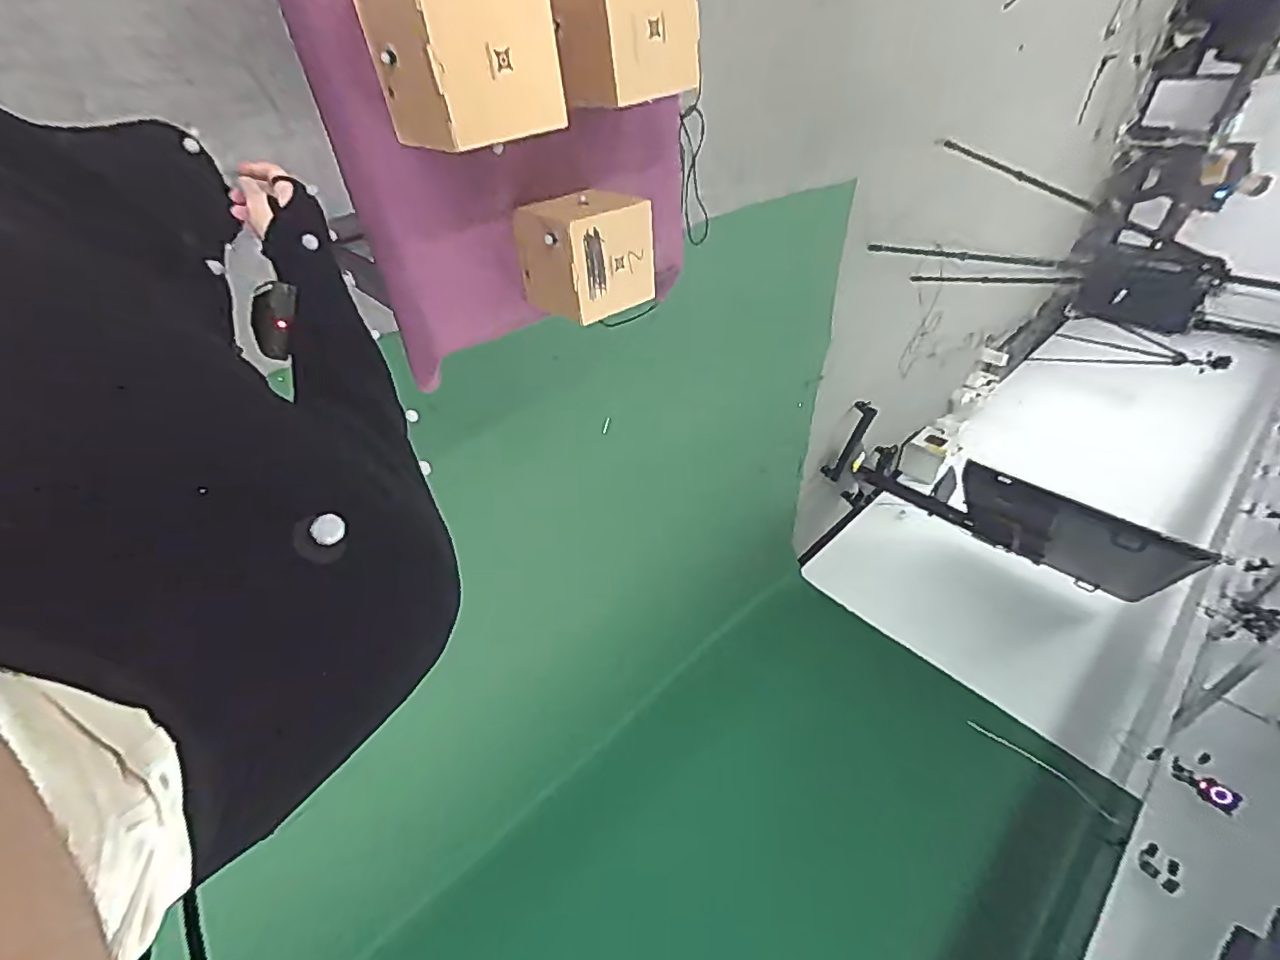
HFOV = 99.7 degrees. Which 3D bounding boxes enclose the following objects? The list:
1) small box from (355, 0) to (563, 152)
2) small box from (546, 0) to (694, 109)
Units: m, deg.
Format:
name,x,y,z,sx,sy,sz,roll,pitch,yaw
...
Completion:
name,x,y,z,sx,sy,sz,roll,pitch,yaw
small box,-0.230,-0.545,0.705,0.179,0.176,0.168,-34,138,-28
small box,-0.037,-0.681,0.824,0.179,0.176,0.168,-33,137,-27
